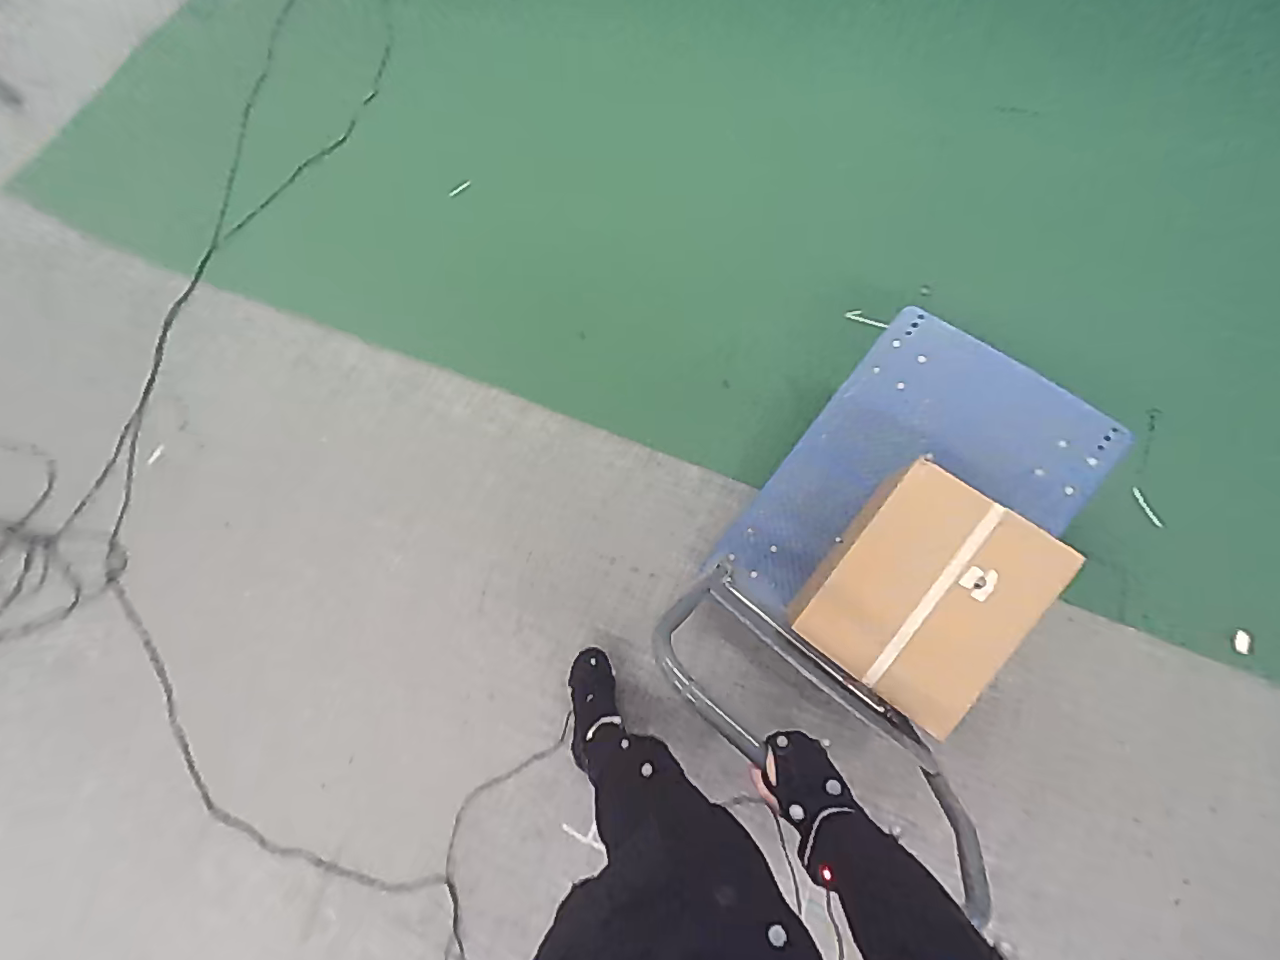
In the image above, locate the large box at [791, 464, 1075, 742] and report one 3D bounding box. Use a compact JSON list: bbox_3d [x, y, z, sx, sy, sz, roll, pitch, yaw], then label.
[{"bbox_3d":[0.556,0.236,1.120,0.320,0.320,0.408,36,91,14],"label":"large box"}]
